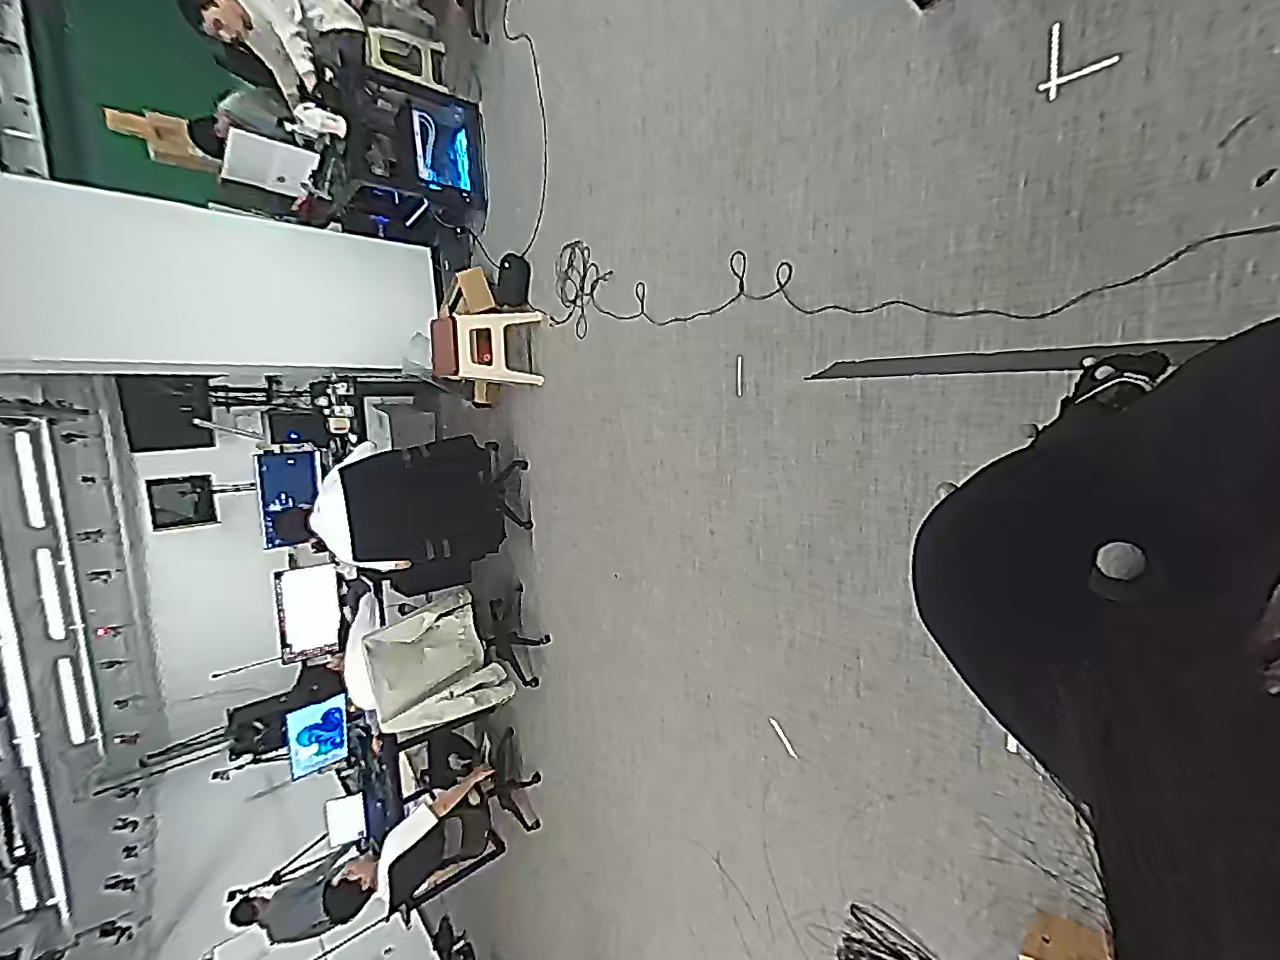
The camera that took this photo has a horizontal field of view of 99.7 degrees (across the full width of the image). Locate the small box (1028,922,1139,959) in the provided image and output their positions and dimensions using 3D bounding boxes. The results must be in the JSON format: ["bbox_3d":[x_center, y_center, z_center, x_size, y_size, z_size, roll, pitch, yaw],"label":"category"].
[{"bbox_3d":[1.050,1.186,1.257,0.179,0.176,0.168,-21,81,49],"label":"small box"}]
